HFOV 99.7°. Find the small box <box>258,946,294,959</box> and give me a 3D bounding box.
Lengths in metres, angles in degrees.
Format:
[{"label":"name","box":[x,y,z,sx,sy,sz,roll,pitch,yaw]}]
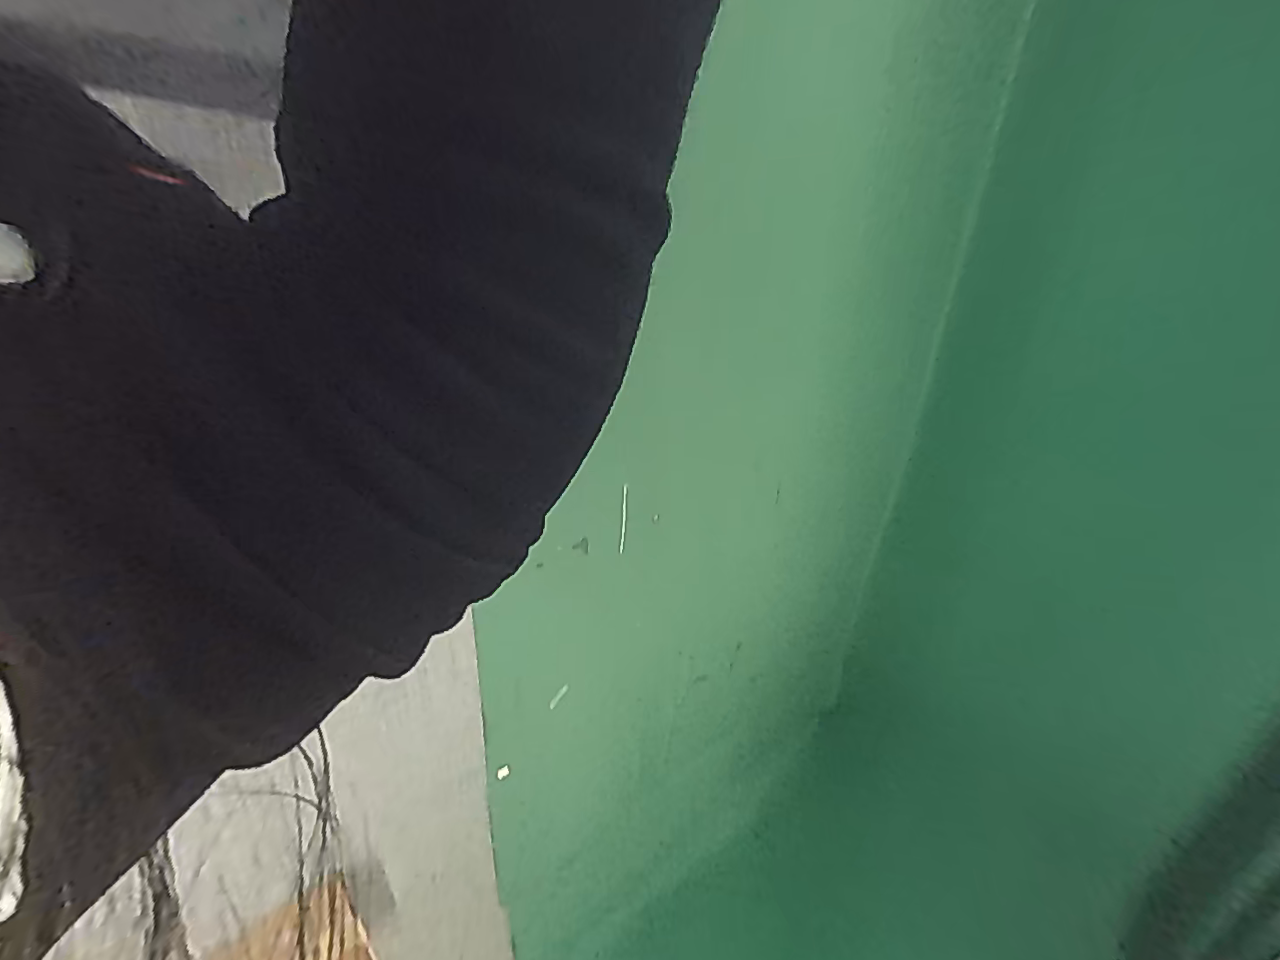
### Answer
[{"label":"small box","box":[-1.171,1.623,1.694,0.168,0.176,0.179,-21,125,-35]}]
